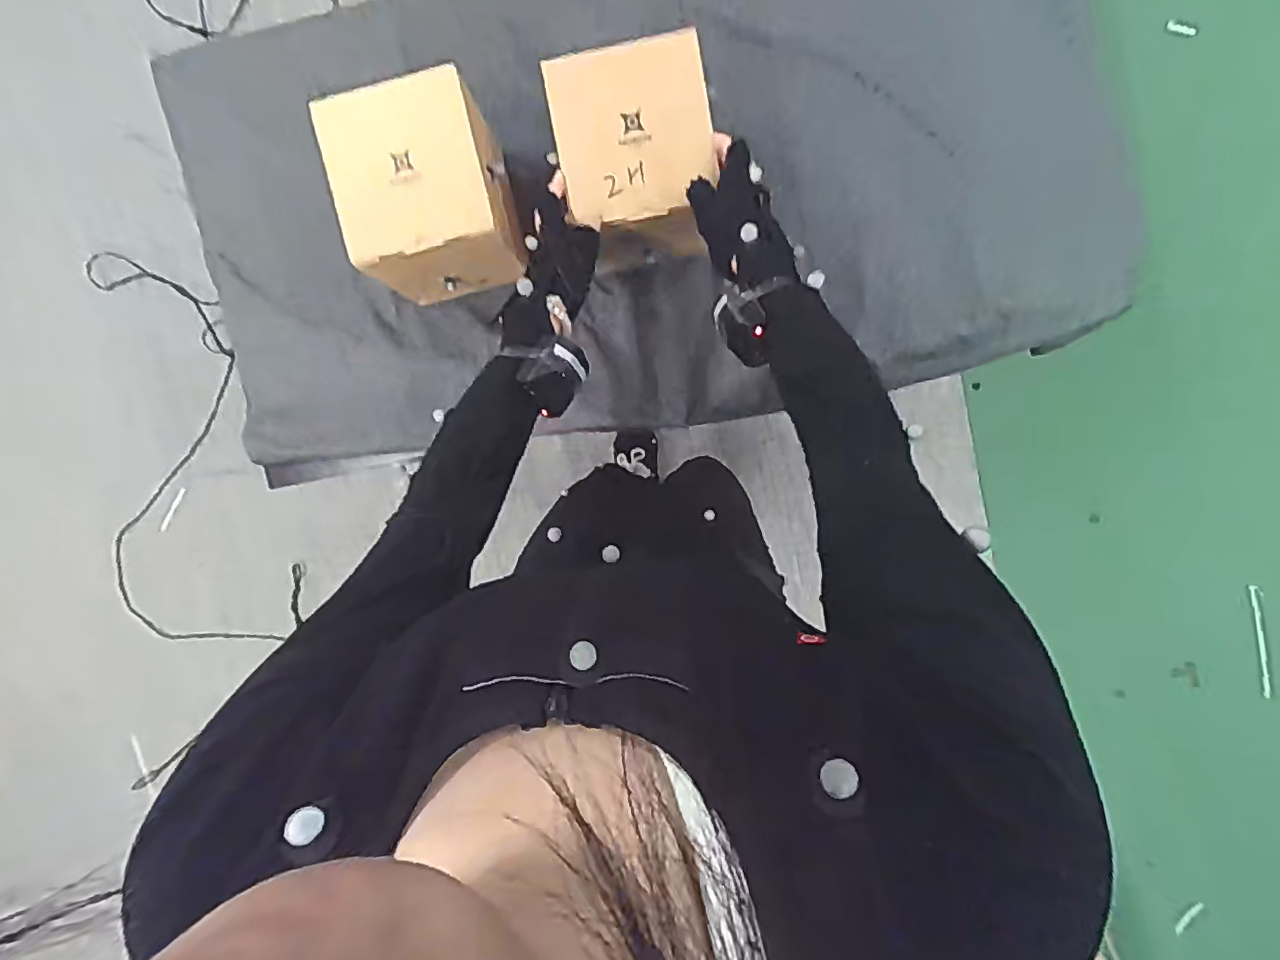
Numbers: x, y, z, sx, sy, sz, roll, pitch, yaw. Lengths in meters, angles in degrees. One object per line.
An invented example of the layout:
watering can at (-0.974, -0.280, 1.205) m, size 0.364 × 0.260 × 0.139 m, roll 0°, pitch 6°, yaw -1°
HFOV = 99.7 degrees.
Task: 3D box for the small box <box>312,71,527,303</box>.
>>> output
small box at (-0.252, -0.338, 0.659) m, size 0.168 × 0.176 × 0.179 m, roll -14°, pitch 94°, yaw 2°

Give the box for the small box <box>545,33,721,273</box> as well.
small box at (-0.006, -0.371, 0.647) m, size 0.168 × 0.176 × 0.179 m, roll -10°, pitch 94°, yaw 2°
